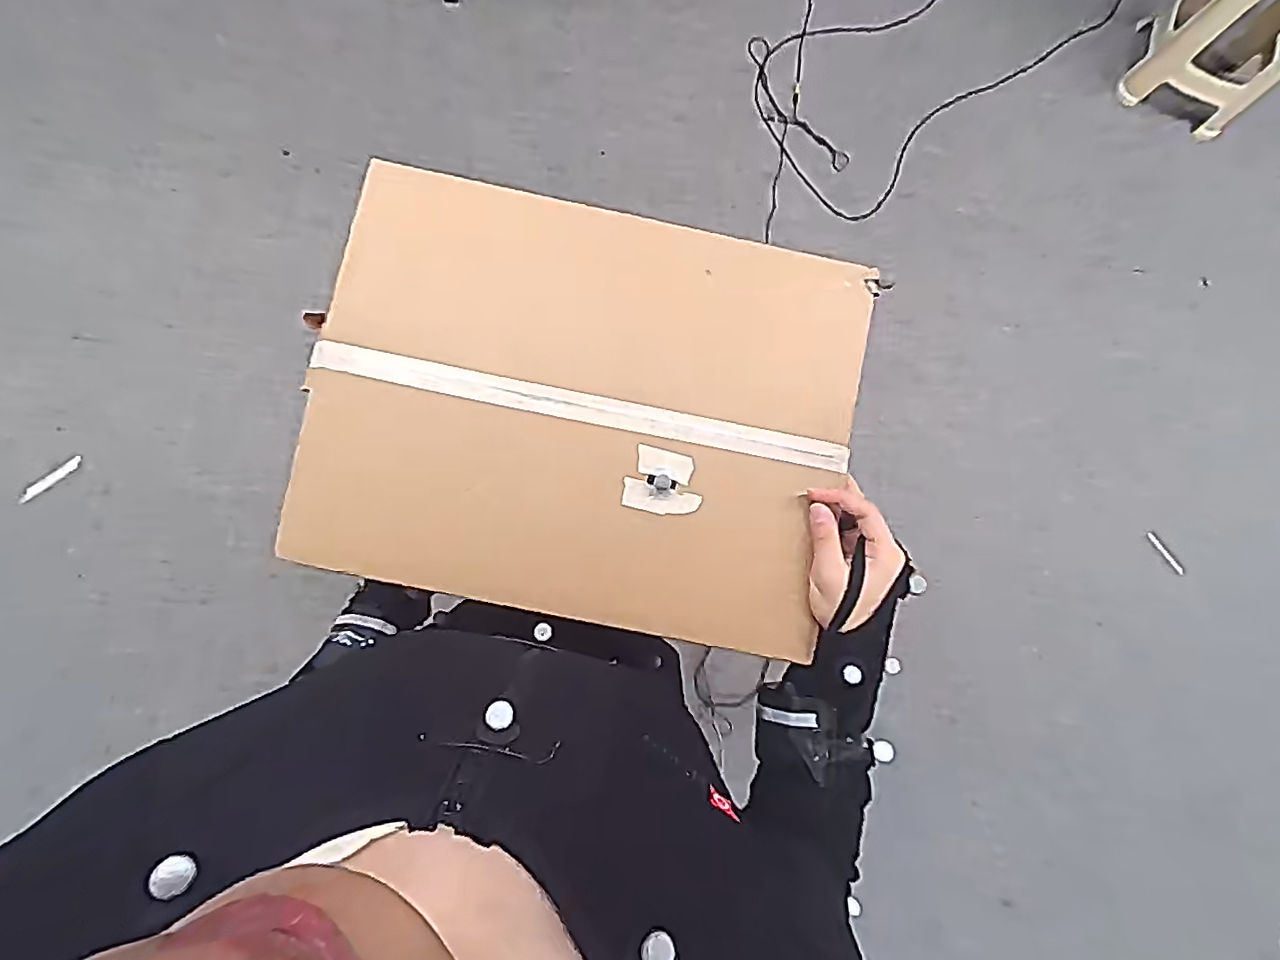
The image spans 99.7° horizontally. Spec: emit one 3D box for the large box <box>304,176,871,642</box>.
[{"bbox_3d":[-0.041,-0.047,0.569,0.408,0.320,0.320,11,87,-2],"label":"large box"}]
